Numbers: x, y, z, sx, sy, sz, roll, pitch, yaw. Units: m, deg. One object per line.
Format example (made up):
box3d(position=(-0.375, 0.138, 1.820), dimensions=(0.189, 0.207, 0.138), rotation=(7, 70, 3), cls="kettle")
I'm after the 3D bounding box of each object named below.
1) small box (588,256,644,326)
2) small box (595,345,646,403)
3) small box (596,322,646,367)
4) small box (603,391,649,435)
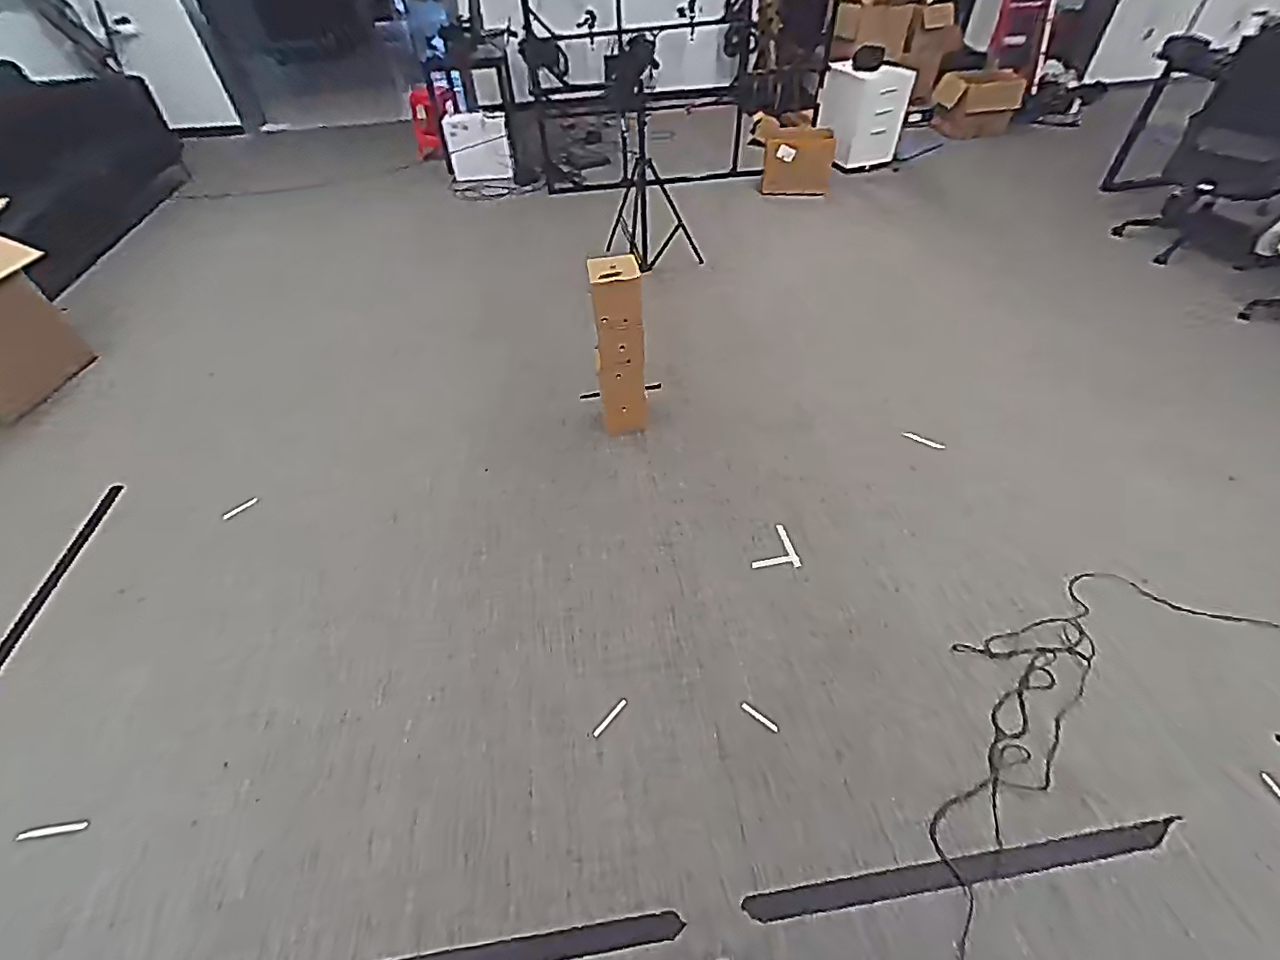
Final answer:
box3d(position=(-0.081, -0.638, 1.846), dimensions=(0.168, 0.176, 0.179), rotation=(-8, 47, -3), cls="small box")
box3d(position=(-0.073, -0.411, 2.083), dimensions=(0.179, 0.176, 0.168), rotation=(-6, 48, -3), cls="small box")
box3d(position=(-0.071, -0.525, 1.966), dimensions=(0.168, 0.176, 0.179), rotation=(-7, 48, -3), cls="small box")
box3d(position=(-0.060, -0.303, 2.207), dimensions=(0.179, 0.176, 0.168), rotation=(-8, 48, -4), cls="small box")
